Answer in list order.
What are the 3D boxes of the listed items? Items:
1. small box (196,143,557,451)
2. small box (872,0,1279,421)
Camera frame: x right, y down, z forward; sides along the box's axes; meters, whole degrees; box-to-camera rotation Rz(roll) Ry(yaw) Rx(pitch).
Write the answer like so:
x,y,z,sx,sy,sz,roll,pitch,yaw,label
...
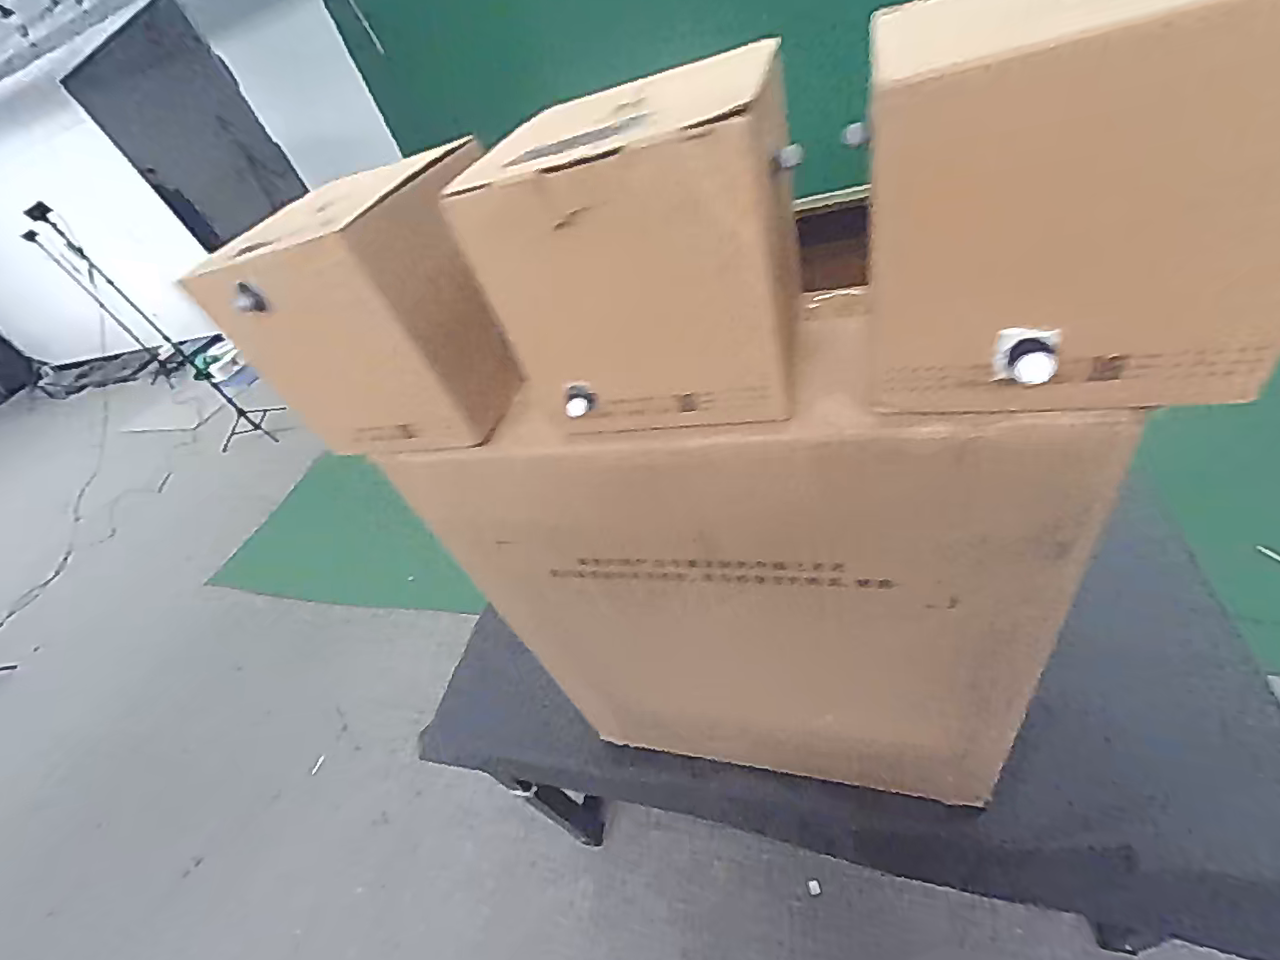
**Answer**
x,y,z,sx,sy,sz,roll,pitch,yaw,label
-0.191,-0.144,0.451,0.168,0.176,0.179,-2,44,26,small box
0.215,-0.151,0.288,0.168,0.176,0.179,-1,46,23,small box
